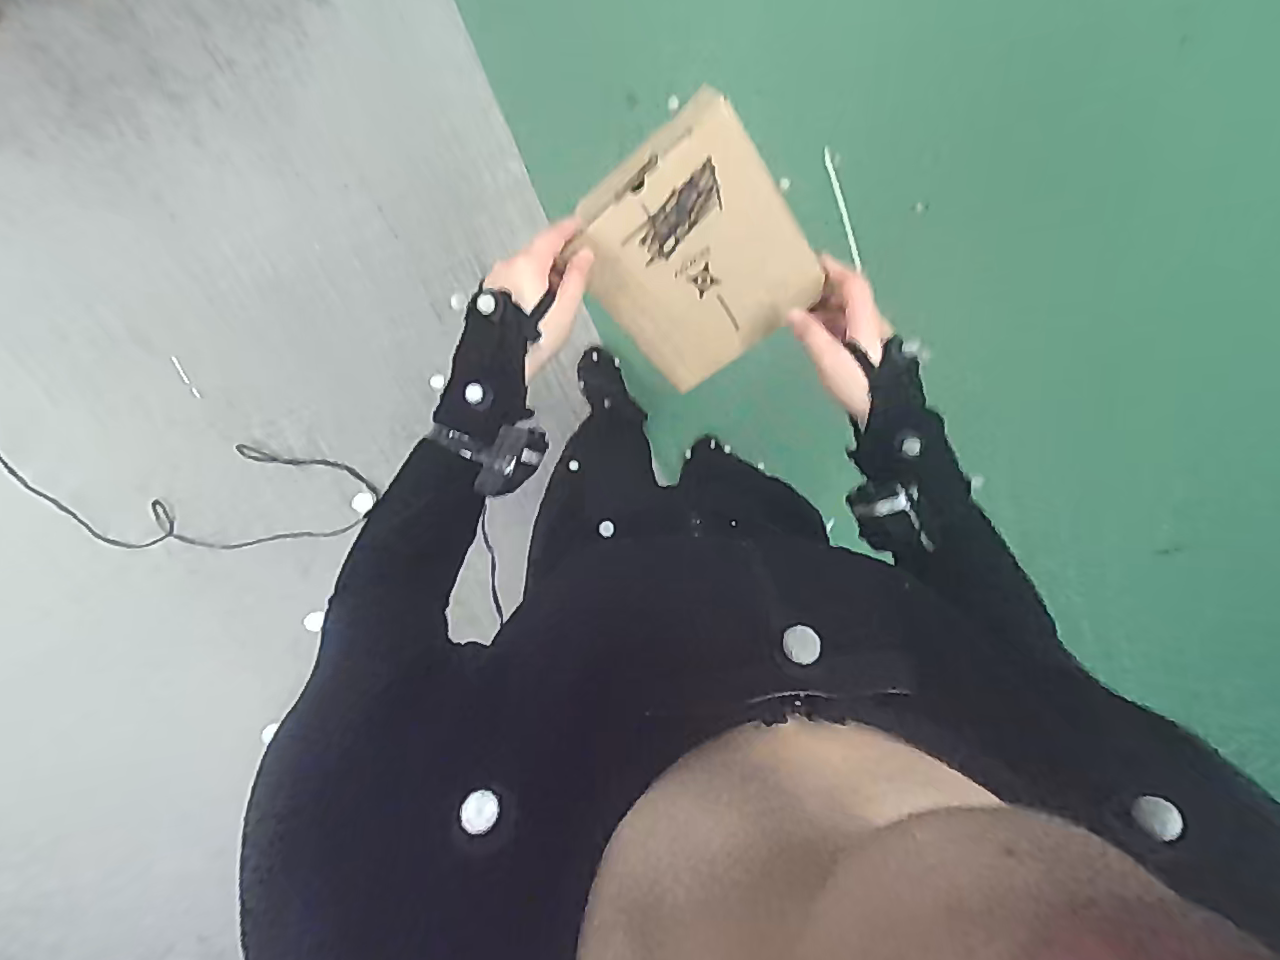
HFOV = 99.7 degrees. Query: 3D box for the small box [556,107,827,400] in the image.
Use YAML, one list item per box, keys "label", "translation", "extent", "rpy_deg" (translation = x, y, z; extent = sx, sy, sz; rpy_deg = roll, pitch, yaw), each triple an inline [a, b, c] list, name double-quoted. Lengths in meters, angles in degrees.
- label: "small box"
  translation: [0.045, -0.217, 0.514]
  extent: [0.168, 0.176, 0.179]
  rpy_deg: [-32, 122, 24]
